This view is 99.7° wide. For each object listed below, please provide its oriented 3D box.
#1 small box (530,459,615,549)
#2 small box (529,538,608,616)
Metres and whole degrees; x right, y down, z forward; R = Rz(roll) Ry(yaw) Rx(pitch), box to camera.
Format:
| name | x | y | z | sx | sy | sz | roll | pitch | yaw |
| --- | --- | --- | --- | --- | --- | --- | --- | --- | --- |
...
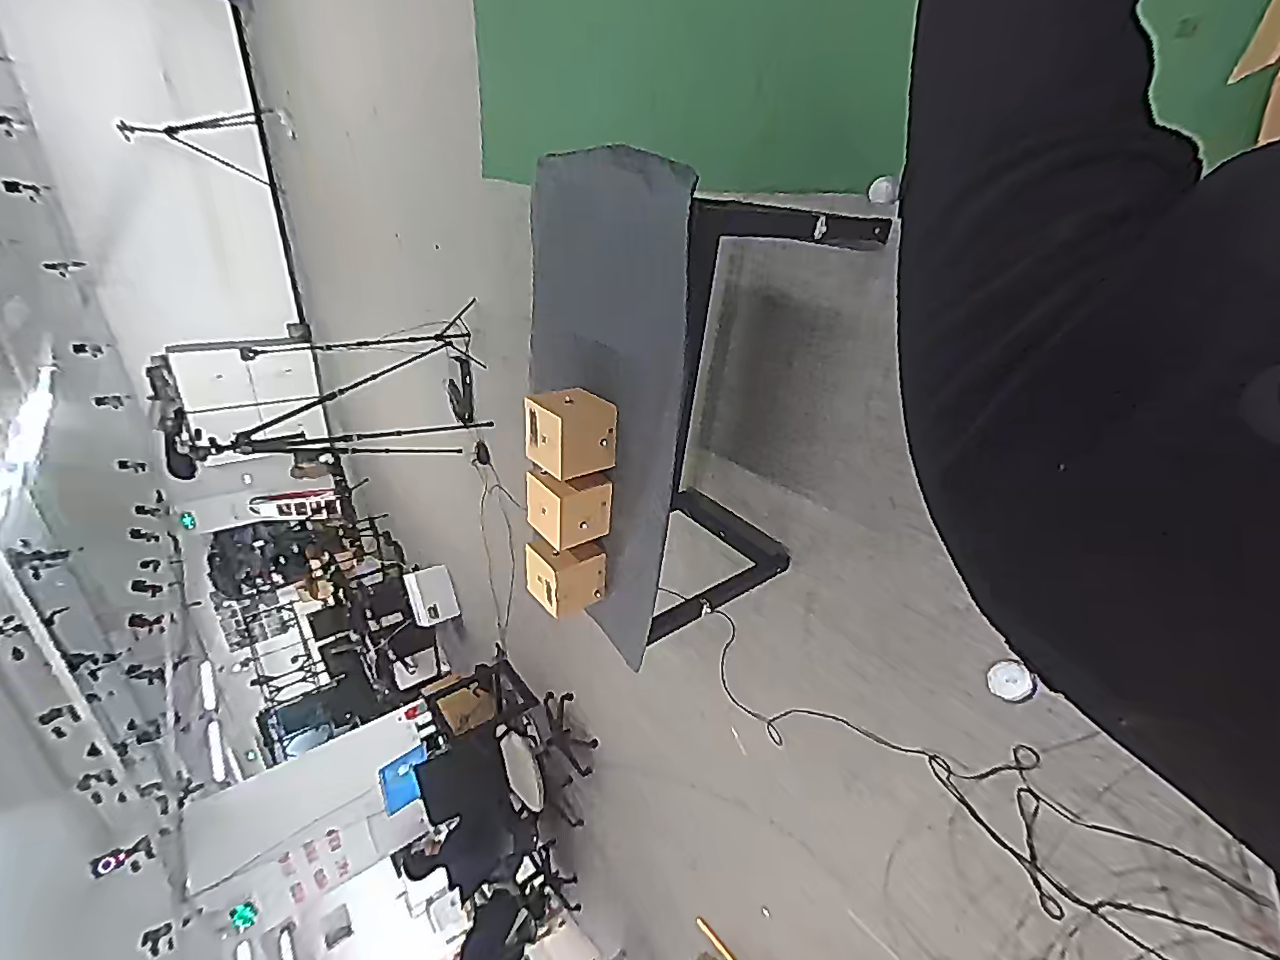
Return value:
| name | x | y | z | sx | sy | sz | roll | pitch | yaw |
| --- | --- | --- | --- | --- | --- | --- | --- | --- | --- |
| small box | -0.183 | 0.056 | 1.474 | 0.179 | 0.176 | 0.168 | 34 | 129 | 42 |
| small box | -0.208 | 0.262 | 1.587 | 0.179 | 0.176 | 0.168 | 31 | 127 | 45 |
